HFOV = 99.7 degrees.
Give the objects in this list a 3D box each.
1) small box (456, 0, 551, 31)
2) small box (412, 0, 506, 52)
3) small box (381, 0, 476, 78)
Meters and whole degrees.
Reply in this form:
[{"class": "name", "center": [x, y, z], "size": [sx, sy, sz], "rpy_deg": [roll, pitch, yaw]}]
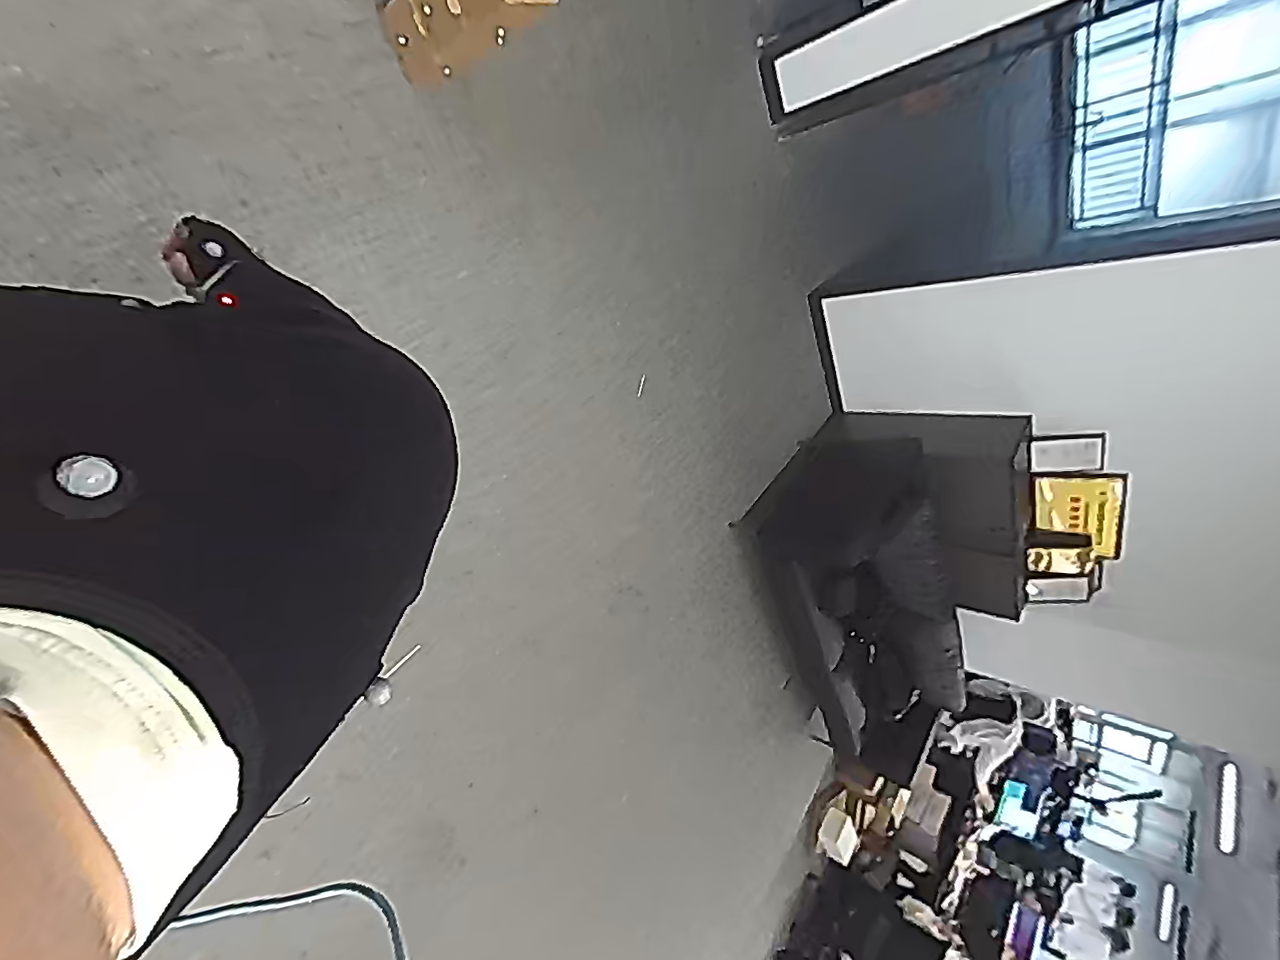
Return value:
[{"class": "small box", "center": [-0.339, -1.198, 1.266], "size": [0.168, 0.176, 0.179], "rpy_deg": [-37, 122, -35]}, {"class": "small box", "center": [-0.457, -1.223, 1.375], "size": [0.179, 0.176, 0.168], "rpy_deg": [-37, 121, -36]}, {"class": "small box", "center": [-0.582, -1.237, 1.483], "size": [0.179, 0.176, 0.168], "rpy_deg": [-41, 124, -33]}]
